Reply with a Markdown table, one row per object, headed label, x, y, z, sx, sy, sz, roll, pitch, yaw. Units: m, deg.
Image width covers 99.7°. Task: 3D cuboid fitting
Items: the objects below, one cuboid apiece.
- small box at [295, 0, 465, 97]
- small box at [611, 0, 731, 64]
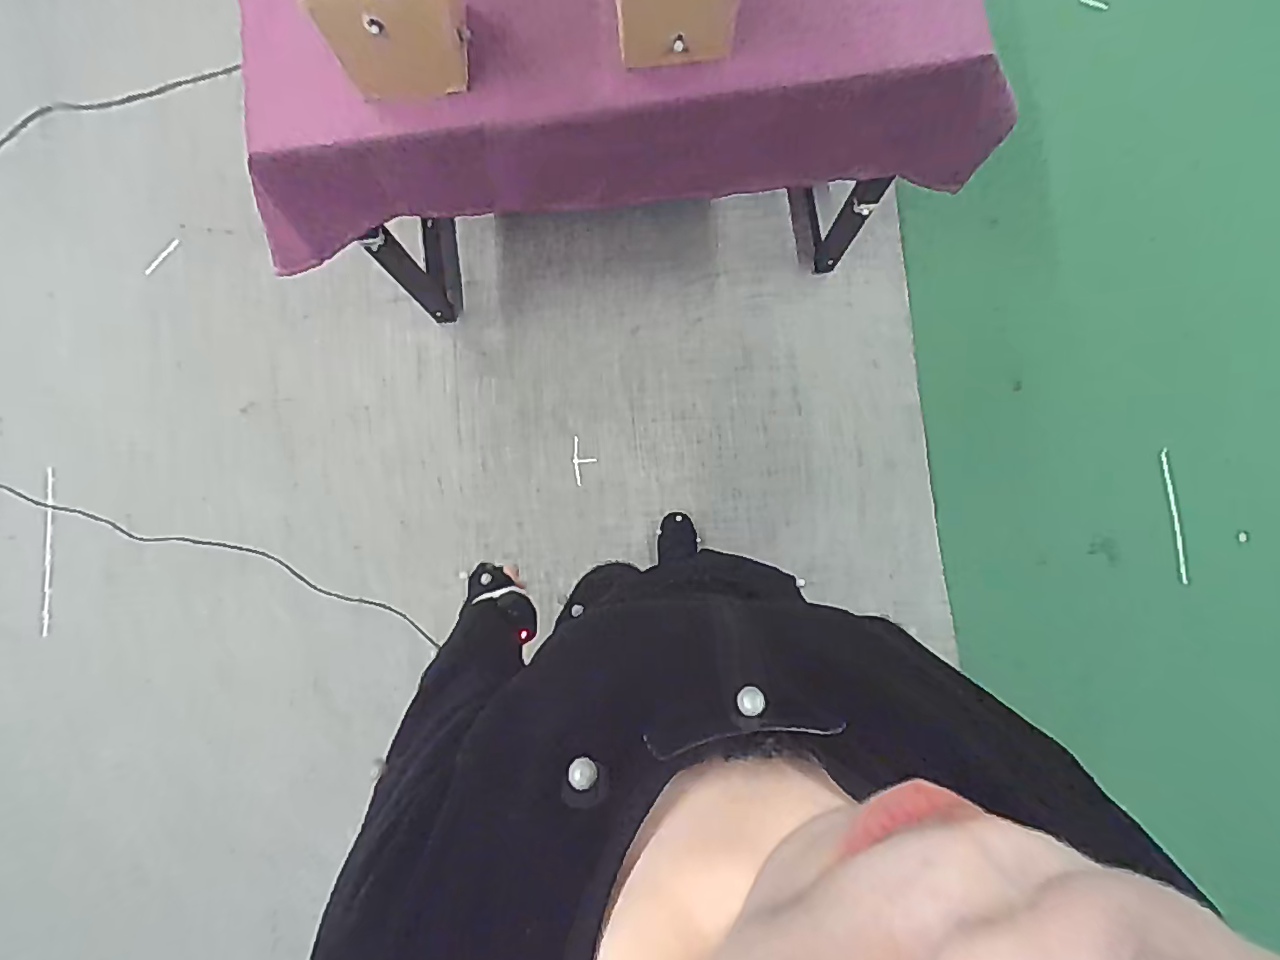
| label | x | y | z | sx | sy | sz | roll | pitch | yaw |
| --- | --- | --- | --- | --- | --- | --- | --- | --- | --- |
| small box | -0.375 | -0.707 | 0.800 | 0.179 | 0.176 | 0.168 | -4 | 84 | 0 |
| small box | 0.043 | -0.762 | 0.800 | 0.179 | 0.176 | 0.168 | -5 | 83 | 0 |
